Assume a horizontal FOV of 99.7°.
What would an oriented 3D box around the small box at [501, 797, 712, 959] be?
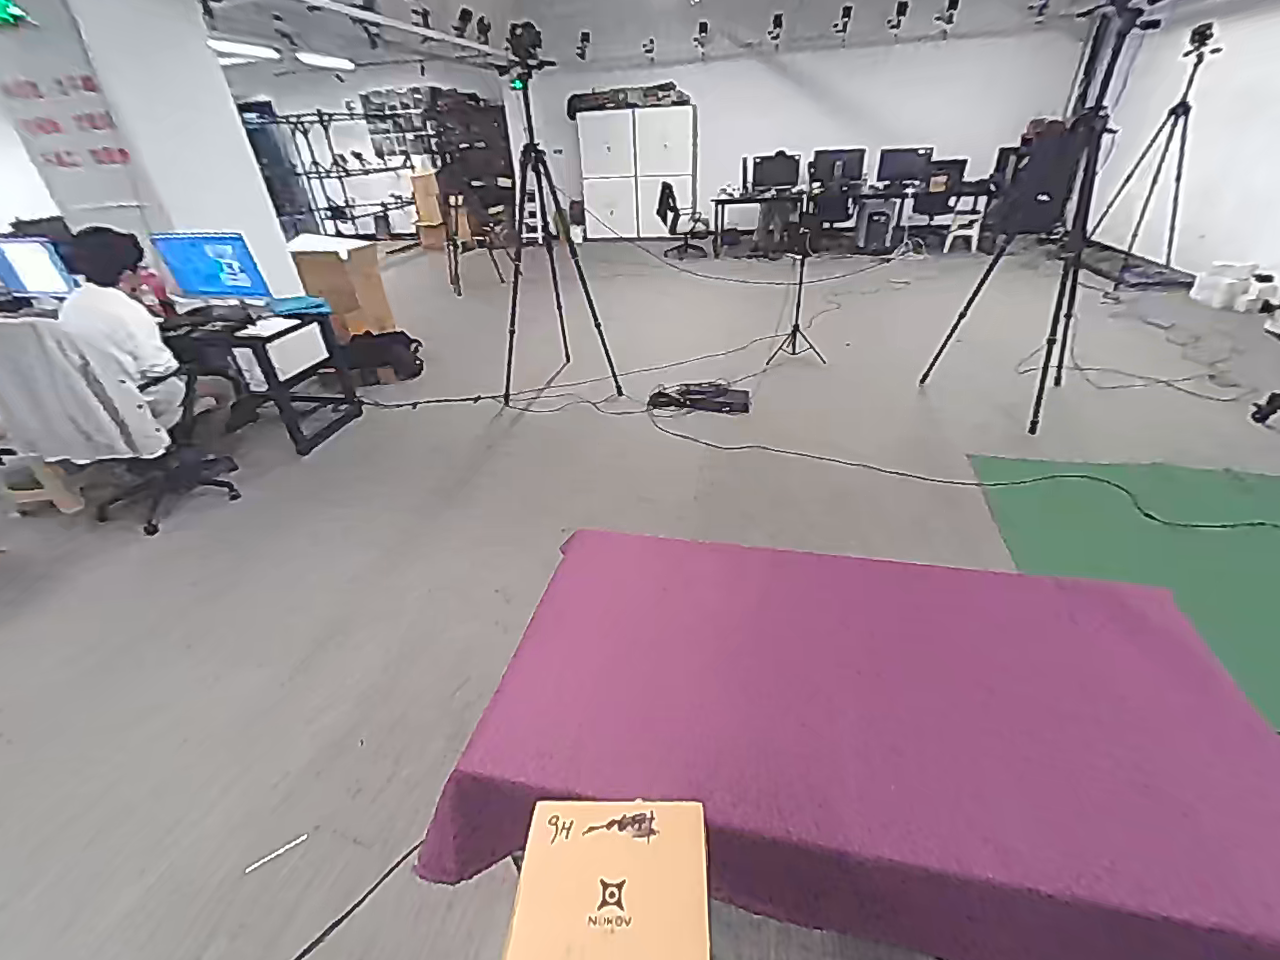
[{"bbox_3d":[-0.019,0.424,0.496,0.168,0.176,0.179,-3,31,6],"label":"small box"}]
